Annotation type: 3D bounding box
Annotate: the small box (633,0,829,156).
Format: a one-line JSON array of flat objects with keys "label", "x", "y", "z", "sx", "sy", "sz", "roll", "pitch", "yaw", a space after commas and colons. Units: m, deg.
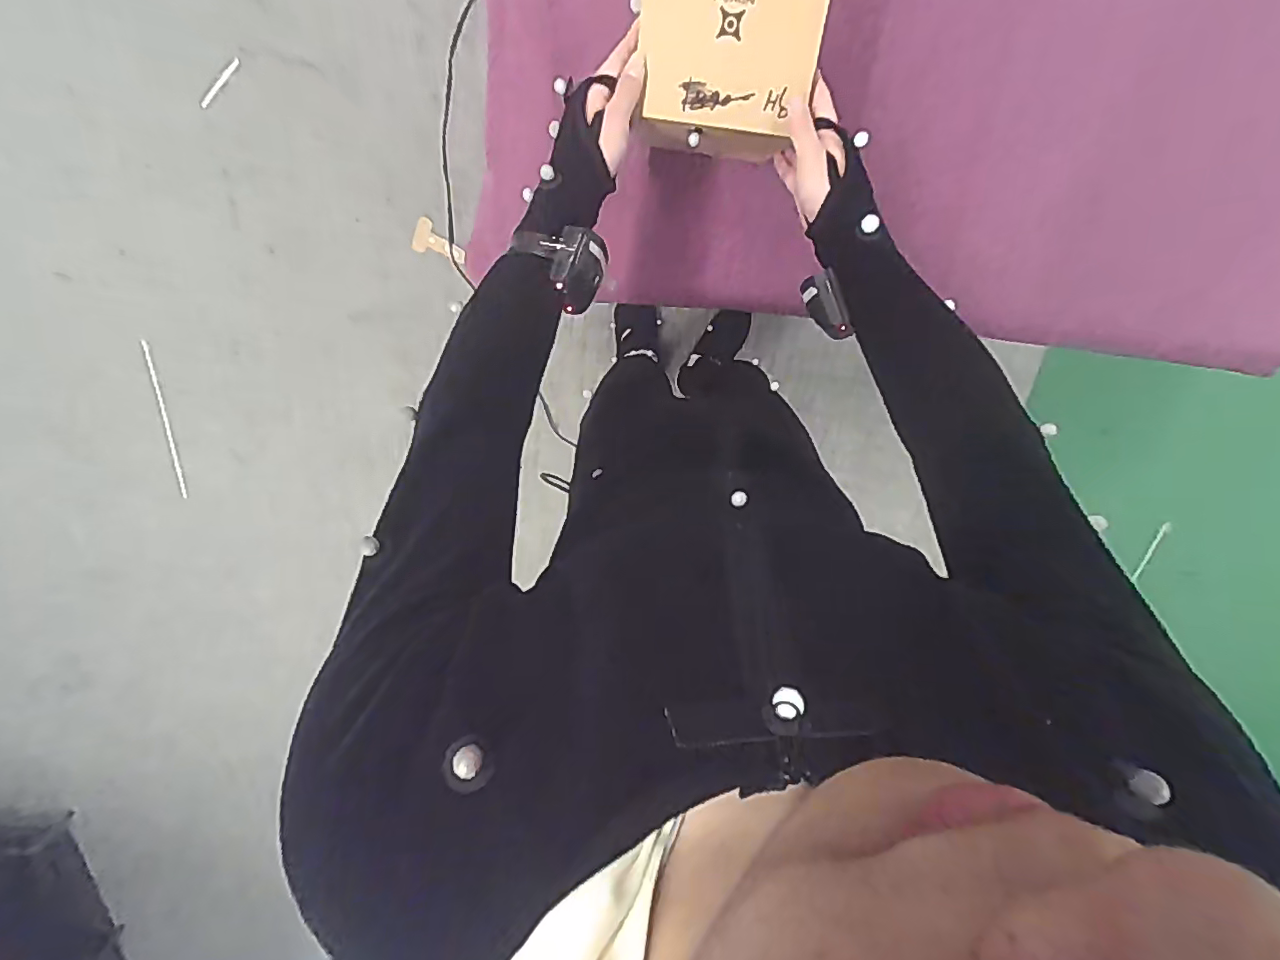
[{"label": "small box", "x": 0.083, "y": -0.451, "z": 0.550, "sx": 0.168, "sy": 0.176, "sz": 0.179, "roll": 7, "pitch": 115, "yaw": -3}]
